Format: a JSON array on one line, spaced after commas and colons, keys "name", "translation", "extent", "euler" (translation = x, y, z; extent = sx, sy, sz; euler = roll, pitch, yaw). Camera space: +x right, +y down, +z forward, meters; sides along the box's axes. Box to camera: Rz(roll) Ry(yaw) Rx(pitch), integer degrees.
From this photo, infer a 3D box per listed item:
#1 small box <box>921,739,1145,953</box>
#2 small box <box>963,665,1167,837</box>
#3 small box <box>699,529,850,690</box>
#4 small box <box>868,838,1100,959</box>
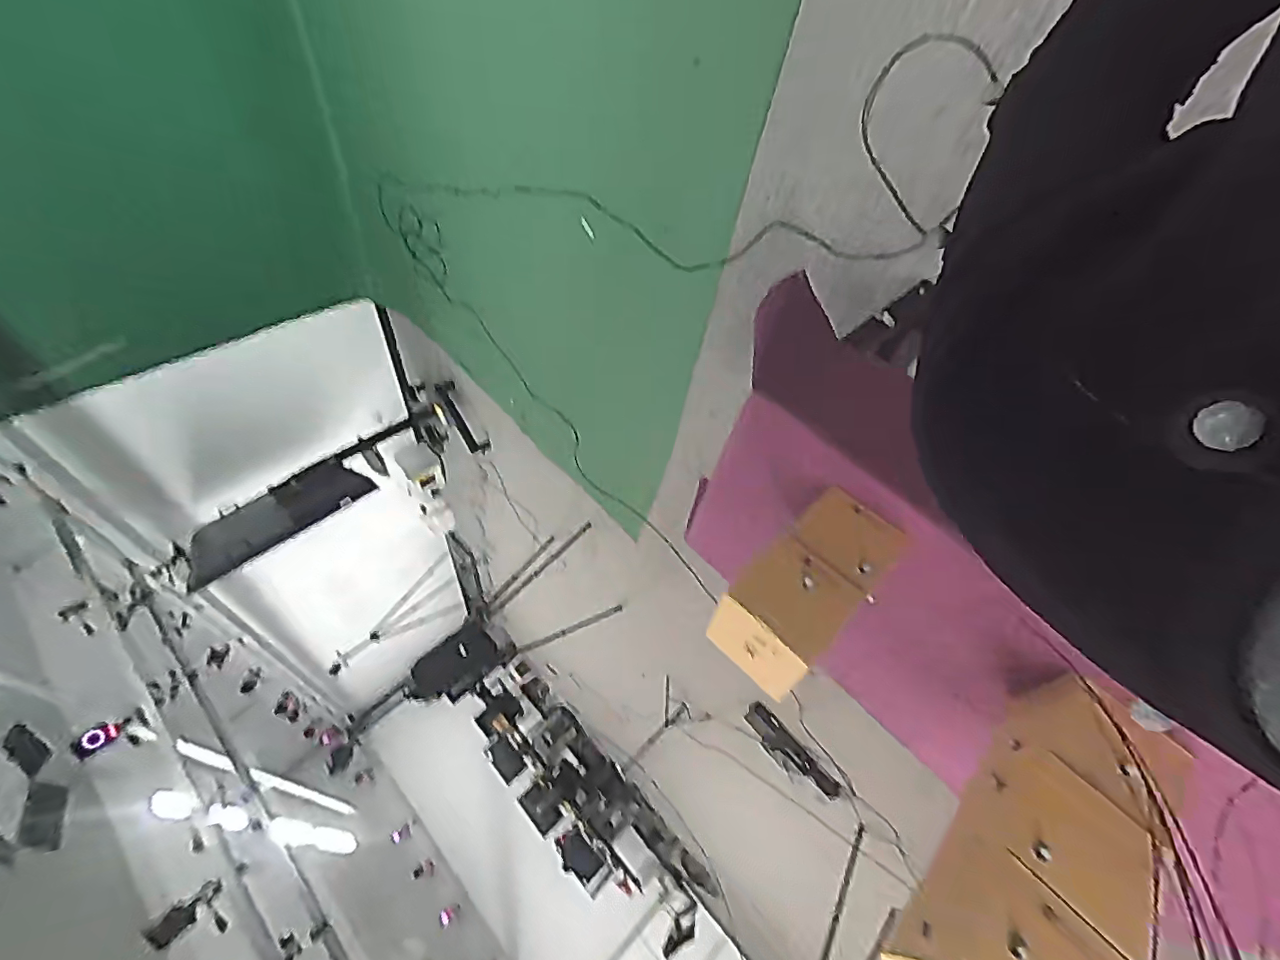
[{"name": "small box", "translation": [0.557, 0.512, 0.773], "extent": [0.179, 0.176, 0.168], "euler": [42, 149, 22]}, {"name": "small box", "translation": [0.670, 0.431, 0.858], "extent": [0.179, 0.176, 0.168], "euler": [41, 148, 22]}, {"name": "small box", "translation": [0.229, 0.221, 0.932], "extent": [0.168, 0.176, 0.179], "euler": [40, 148, 22]}, {"name": "small box", "translation": [0.440, 0.596, 0.696], "extent": [0.168, 0.176, 0.179], "euler": [44, 150, 20]}]
